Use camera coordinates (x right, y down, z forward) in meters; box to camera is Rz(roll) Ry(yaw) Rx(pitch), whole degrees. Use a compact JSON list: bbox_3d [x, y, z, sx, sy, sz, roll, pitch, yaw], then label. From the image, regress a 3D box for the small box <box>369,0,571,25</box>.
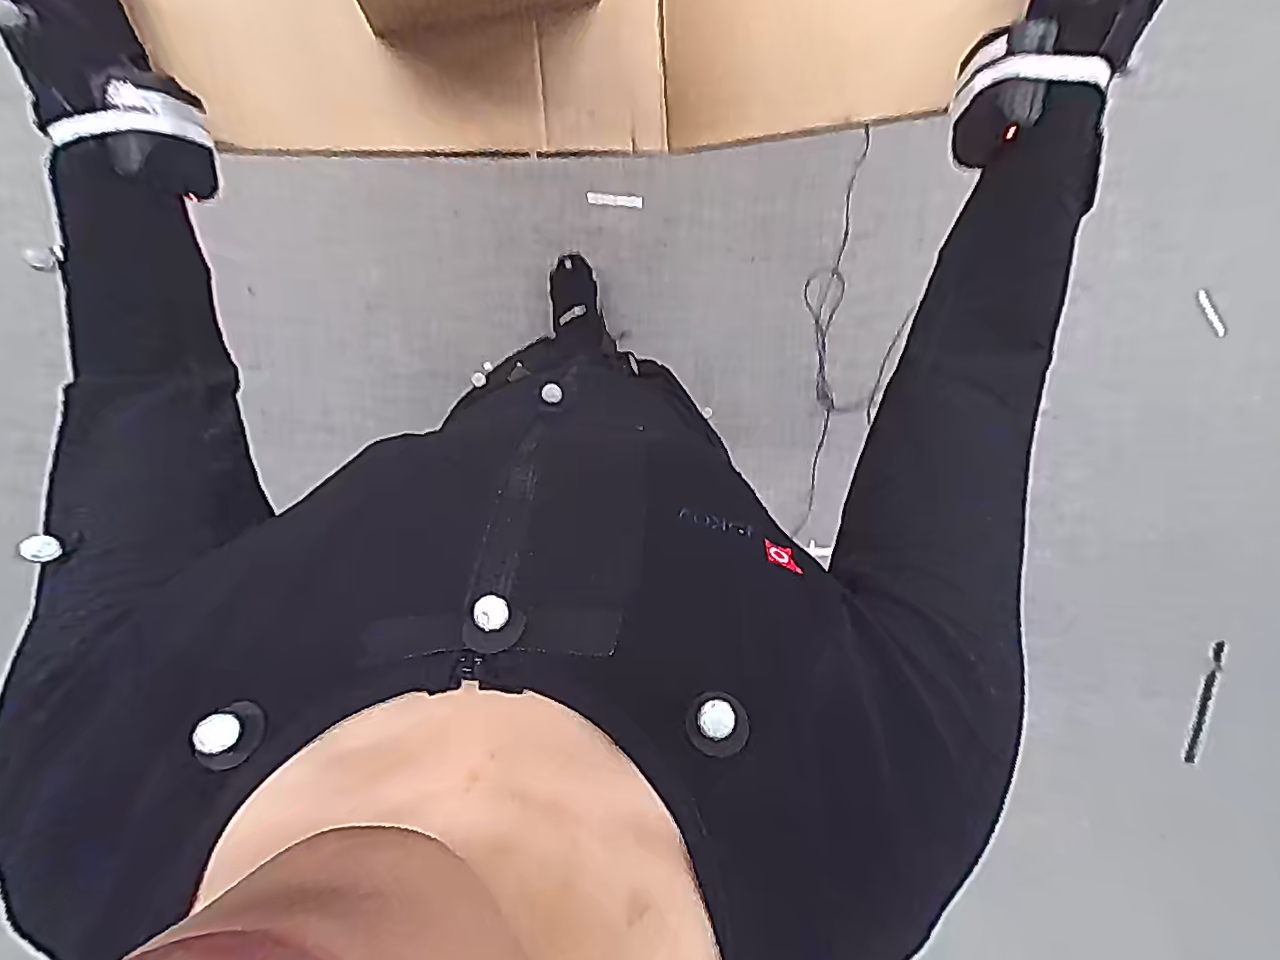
[{"bbox_3d":[-0.108,-0.405,0.309,0.179,0.176,0.168,-15,110,-8],"label":"small box"}]
